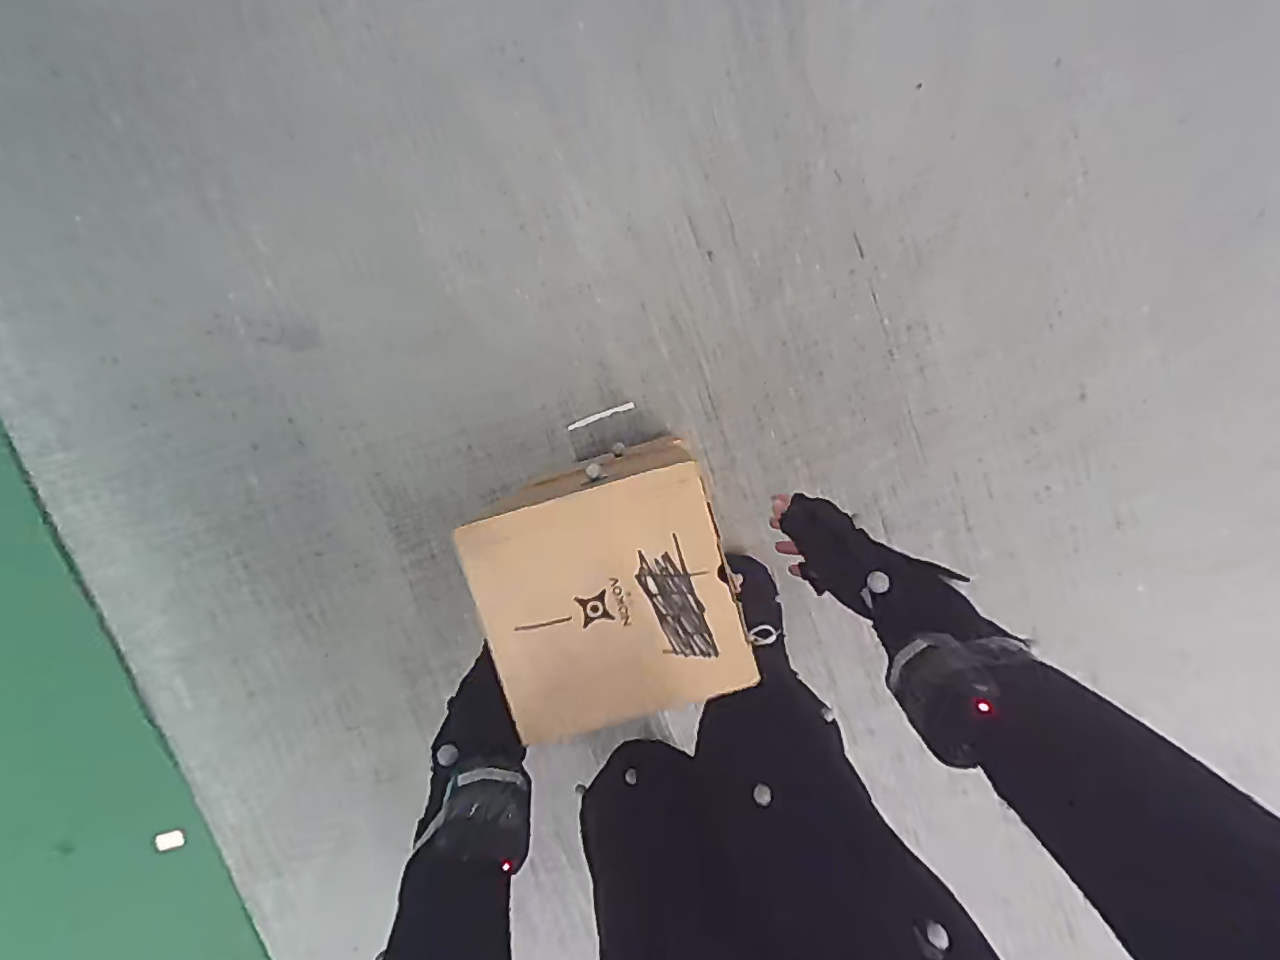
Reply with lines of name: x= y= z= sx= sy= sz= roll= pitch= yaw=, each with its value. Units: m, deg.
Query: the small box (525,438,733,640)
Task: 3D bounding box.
small box: x=-0.010 y=0.053 z=0.616 sx=0.179 sy=0.176 sz=0.168 roll=-16 pitch=96 yaw=3
